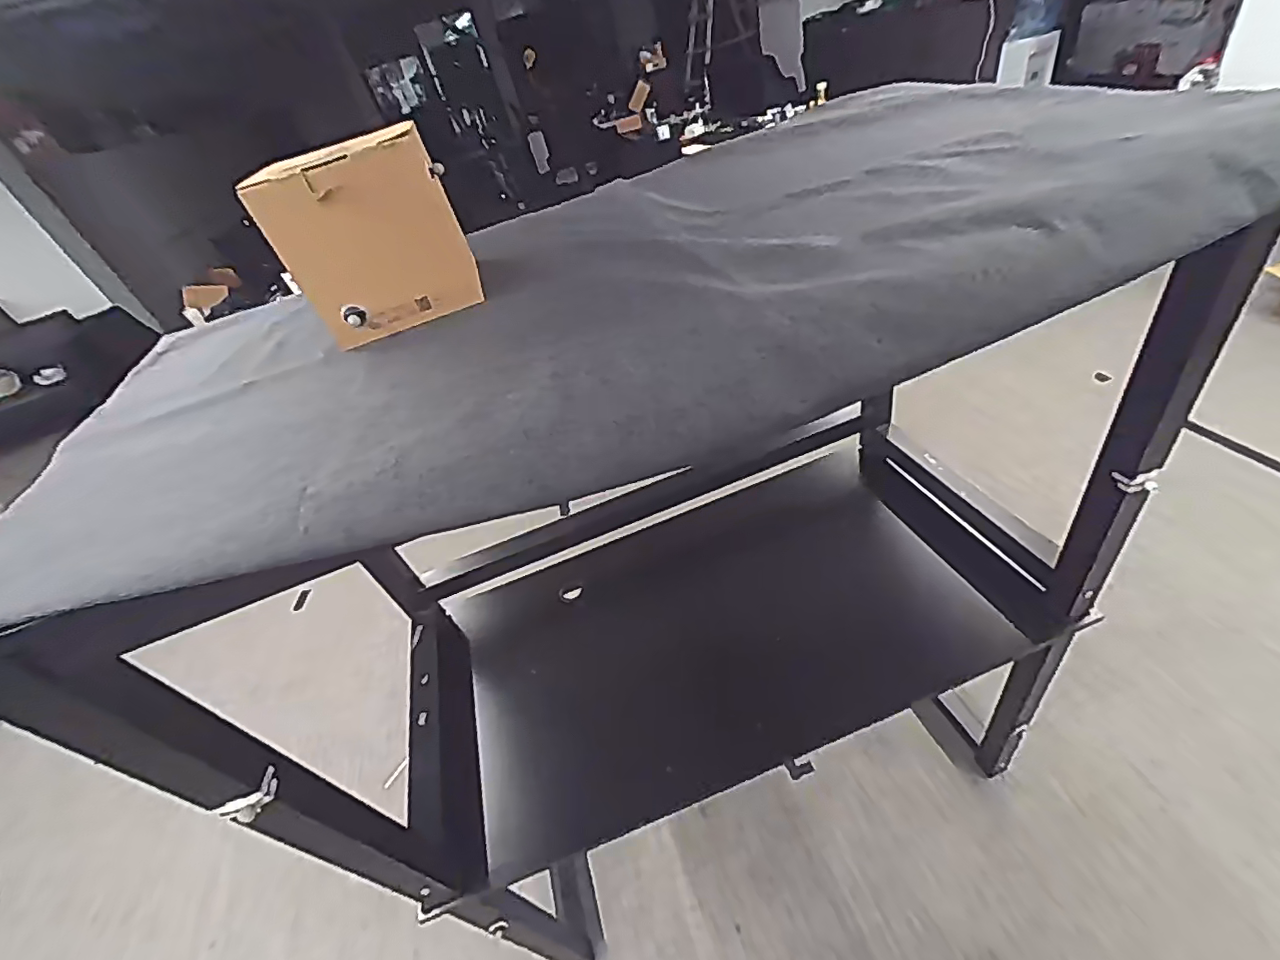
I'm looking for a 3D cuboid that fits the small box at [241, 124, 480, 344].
[{"bbox_3d":[-0.293,-0.274,0.611,0.168,0.176,0.179,-22,39,-4],"label":"small box"}]
